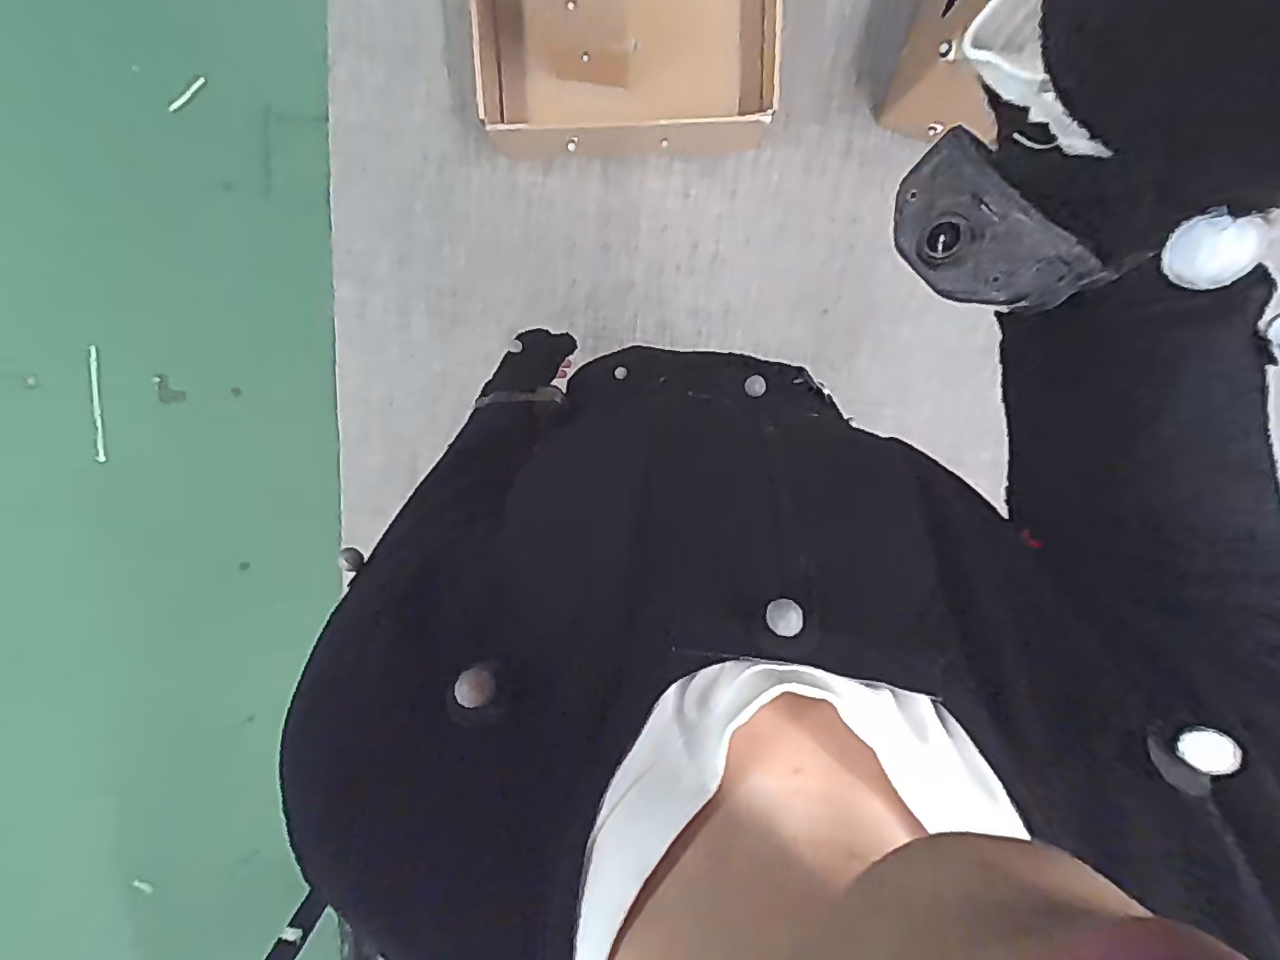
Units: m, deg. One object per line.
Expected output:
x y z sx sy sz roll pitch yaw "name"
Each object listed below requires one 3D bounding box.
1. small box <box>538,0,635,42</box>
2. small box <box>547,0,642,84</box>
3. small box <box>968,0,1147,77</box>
-0.095 -0.929 0.970 0.179 0.176 0.168 5 104 -1 "small box"
-0.090 -0.964 1.131 0.179 0.176 0.168 5 104 -2 "small box"
0.680 -0.788 0.870 0.179 0.176 0.168 11 105 -1 "small box"
